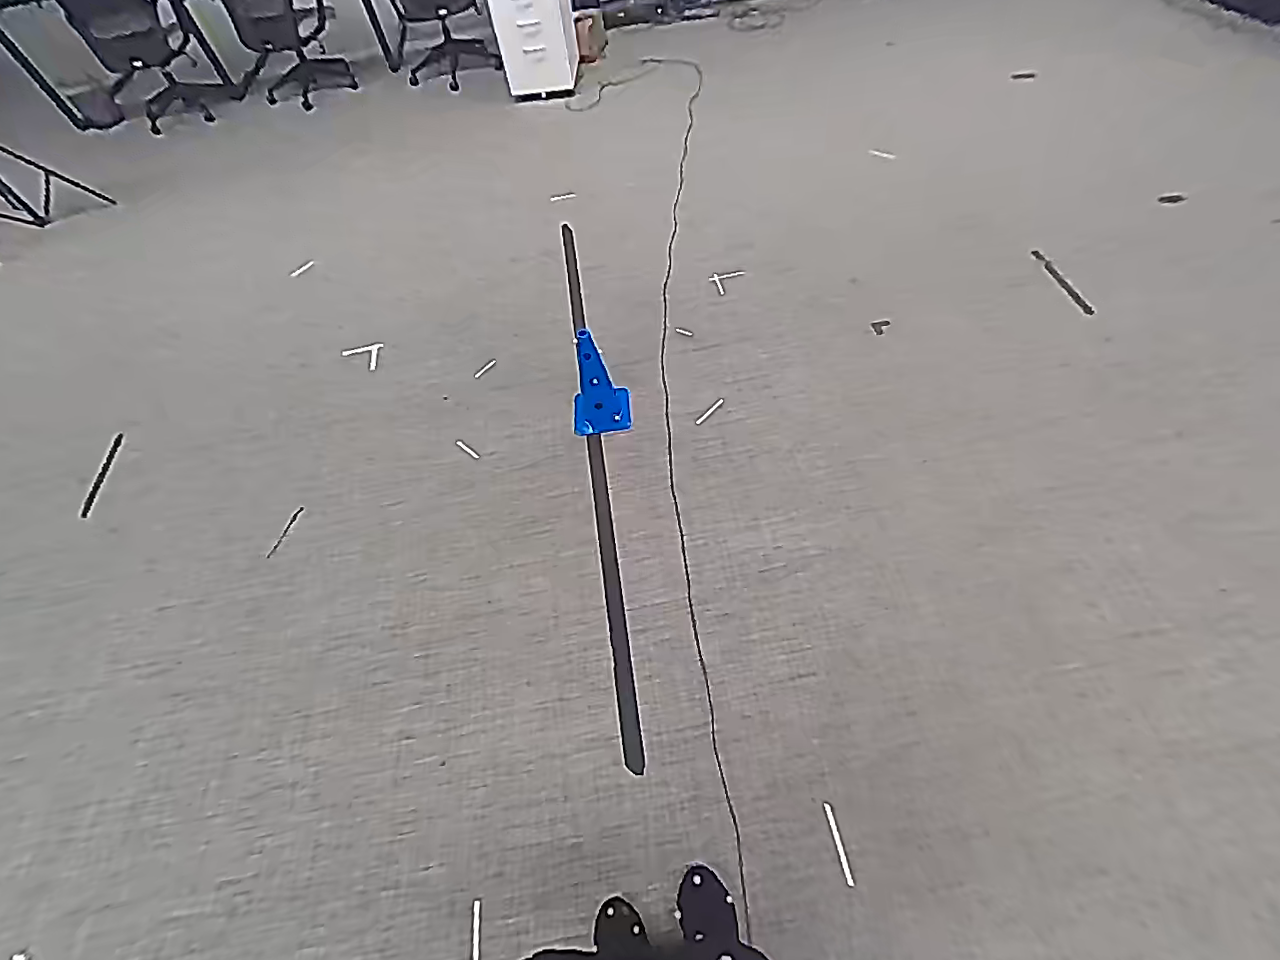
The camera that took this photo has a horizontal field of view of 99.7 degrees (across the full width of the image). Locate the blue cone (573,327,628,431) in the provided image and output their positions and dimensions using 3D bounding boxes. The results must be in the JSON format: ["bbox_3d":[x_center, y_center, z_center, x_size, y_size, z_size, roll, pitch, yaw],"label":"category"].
[{"bbox_3d":[-0.157,-0.350,1.779,0.193,0.380,0.192,-8,55,1],"label":"blue cone"}]
